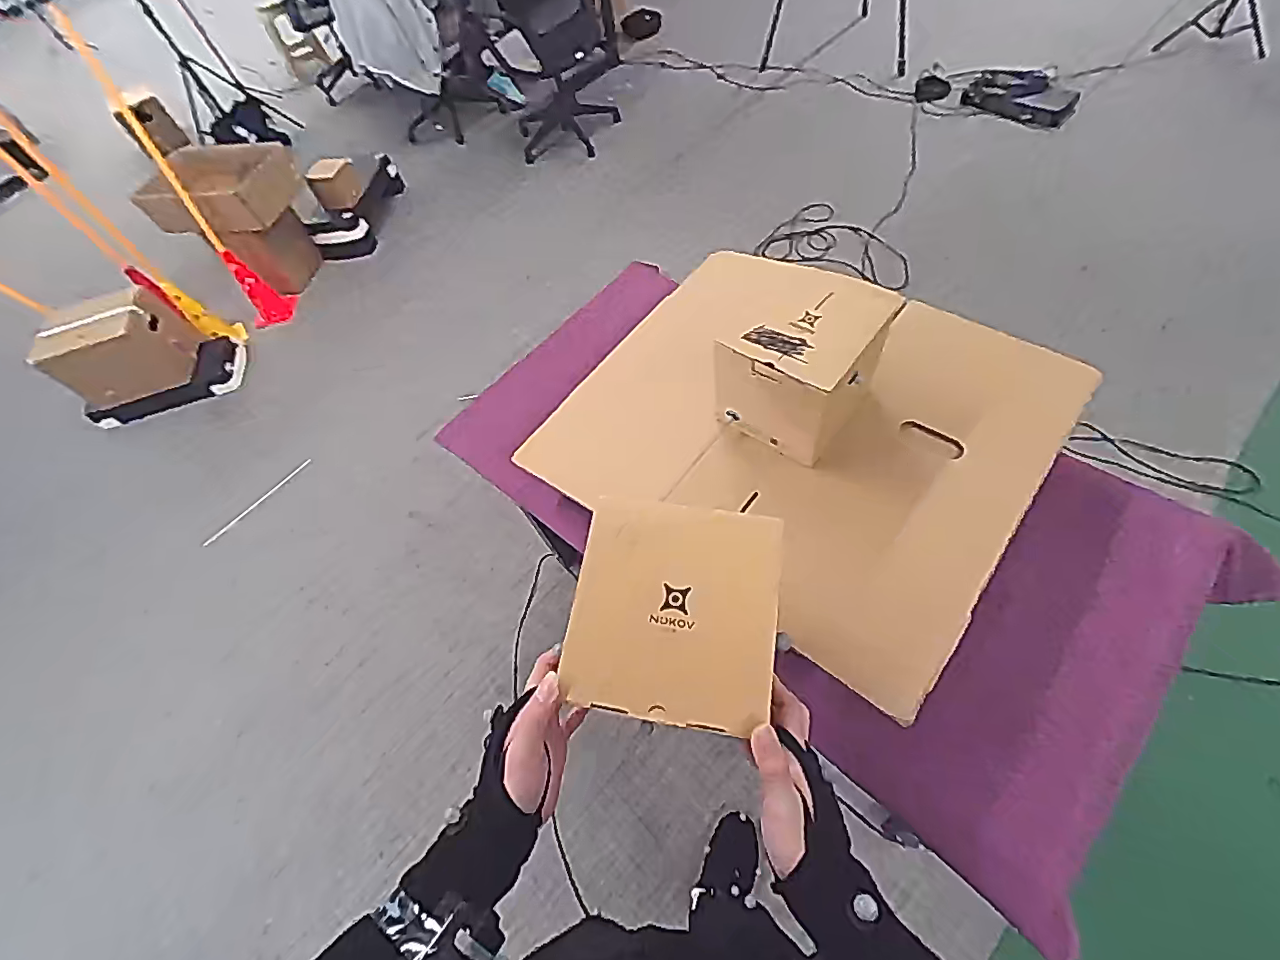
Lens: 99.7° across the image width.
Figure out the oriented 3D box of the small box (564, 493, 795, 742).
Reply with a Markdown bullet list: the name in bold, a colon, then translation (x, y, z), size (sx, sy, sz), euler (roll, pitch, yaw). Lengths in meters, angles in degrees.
- **small box**: translation (0.040, 0.133, 0.507), size (0.168, 0.176, 0.179), euler (8, 68, 8)

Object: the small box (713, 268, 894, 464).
- **small box**: translation (0.219, -0.154, 0.756), size (0.168, 0.176, 0.179), euler (32, 68, 24)
